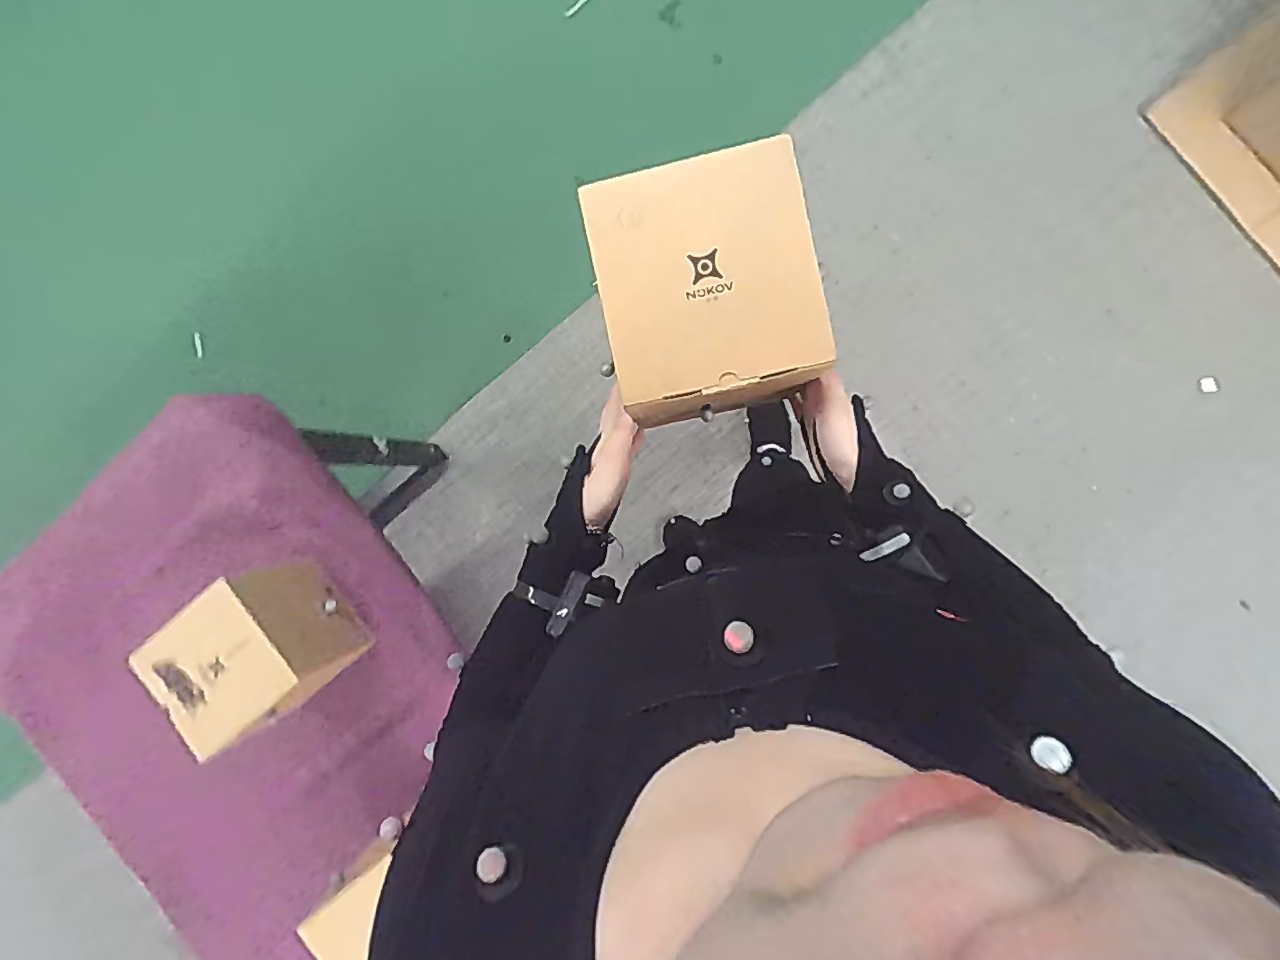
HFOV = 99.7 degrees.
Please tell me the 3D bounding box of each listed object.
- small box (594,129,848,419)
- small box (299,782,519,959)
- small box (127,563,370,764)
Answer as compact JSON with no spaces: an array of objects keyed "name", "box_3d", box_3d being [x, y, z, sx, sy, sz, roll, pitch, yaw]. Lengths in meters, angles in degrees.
[{"name":"small box","box_3d":[0.063,-0.162,0.483,0.168,0.176,0.179,-12,91,4]},{"name":"small box","box_3d":[-0.294,0.560,0.727,0.179,0.176,0.168,-41,87,6]},{"name":"small box","box_3d":[-0.523,0.239,0.748,0.179,0.176,0.168,-40,87,4]}]
